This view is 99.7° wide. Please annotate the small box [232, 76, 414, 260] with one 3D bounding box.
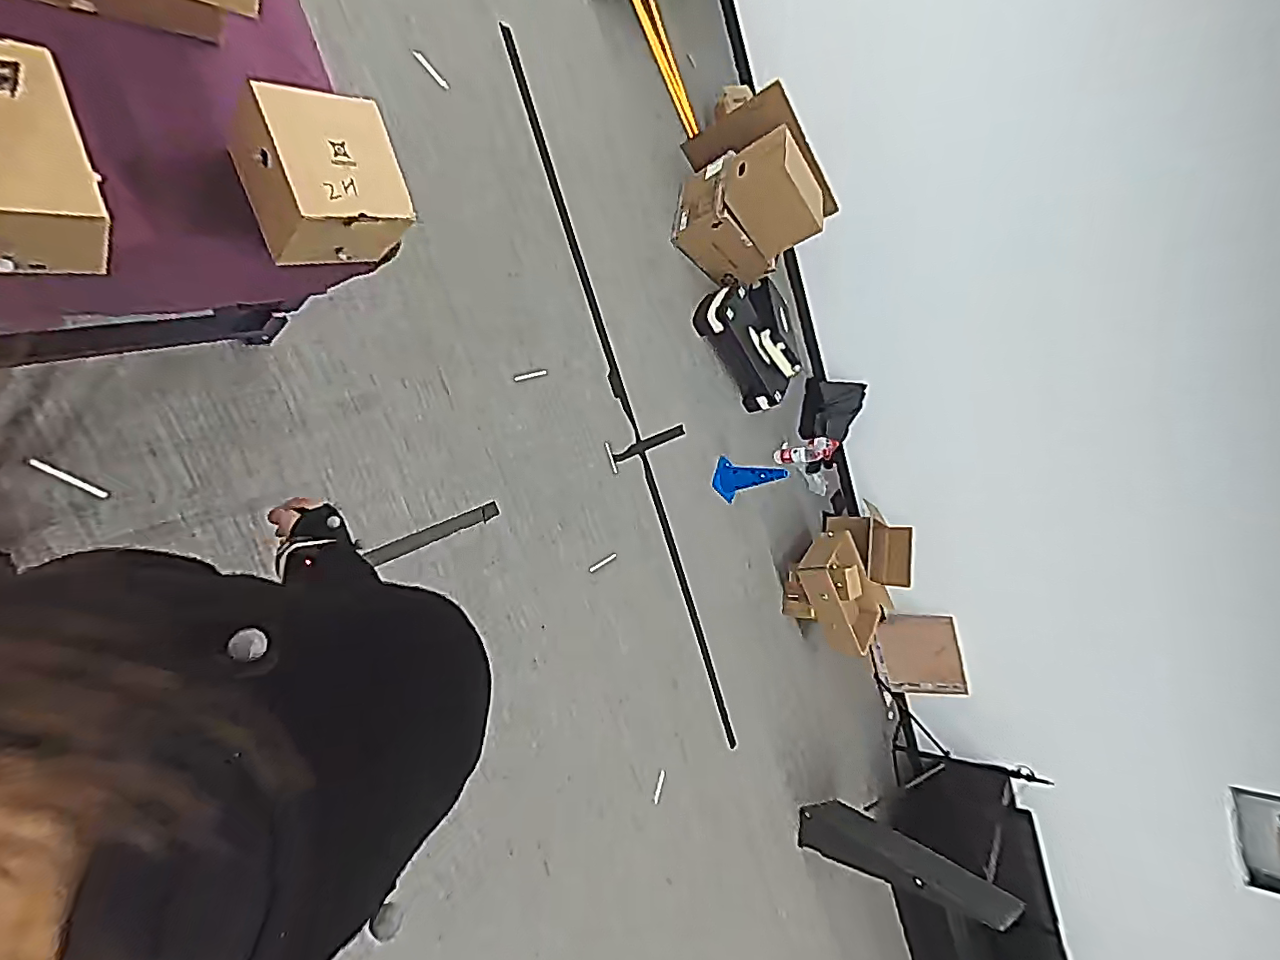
[{"bbox_3d":[-0.478,-0.451,0.813,0.168,0.176,0.179,-26,103,-43],"label":"small box"}]
